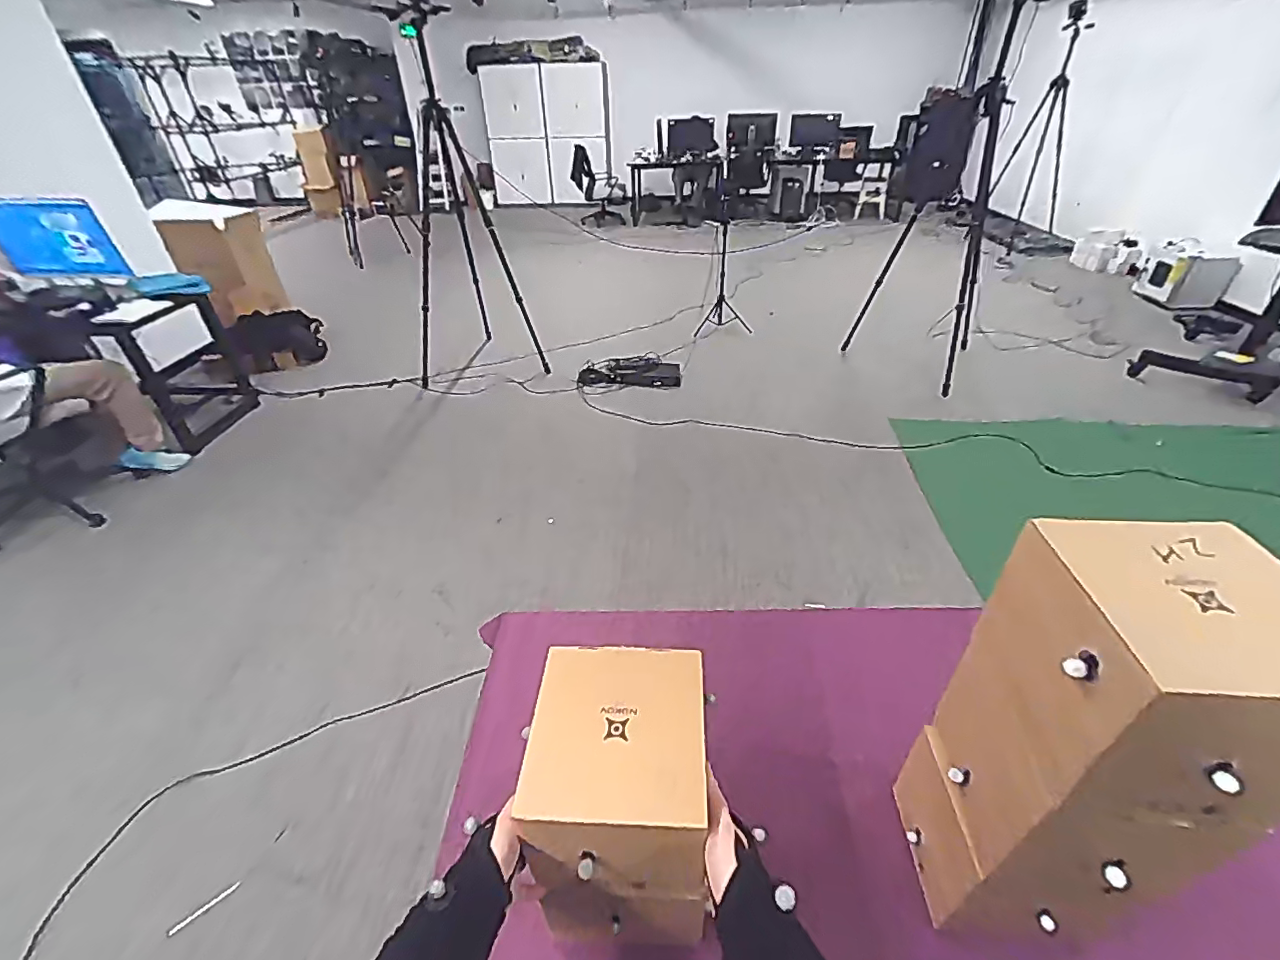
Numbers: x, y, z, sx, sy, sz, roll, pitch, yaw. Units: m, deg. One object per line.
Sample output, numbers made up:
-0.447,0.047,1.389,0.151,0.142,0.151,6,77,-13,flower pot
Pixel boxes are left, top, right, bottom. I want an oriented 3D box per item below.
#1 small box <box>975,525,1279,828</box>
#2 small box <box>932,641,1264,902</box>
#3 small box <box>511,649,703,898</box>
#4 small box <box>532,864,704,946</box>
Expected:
0.418,0.158,0.450,0.168,0.176,0.179,2,35,6,small box
0.425,0.292,0.547,0.168,0.176,0.179,3,37,7,small box
-0.019,0.299,0.558,0.168,0.176,0.179,0,35,4,small box
-0.017,0.432,0.652,0.179,0.176,0.168,-1,35,3,small box
